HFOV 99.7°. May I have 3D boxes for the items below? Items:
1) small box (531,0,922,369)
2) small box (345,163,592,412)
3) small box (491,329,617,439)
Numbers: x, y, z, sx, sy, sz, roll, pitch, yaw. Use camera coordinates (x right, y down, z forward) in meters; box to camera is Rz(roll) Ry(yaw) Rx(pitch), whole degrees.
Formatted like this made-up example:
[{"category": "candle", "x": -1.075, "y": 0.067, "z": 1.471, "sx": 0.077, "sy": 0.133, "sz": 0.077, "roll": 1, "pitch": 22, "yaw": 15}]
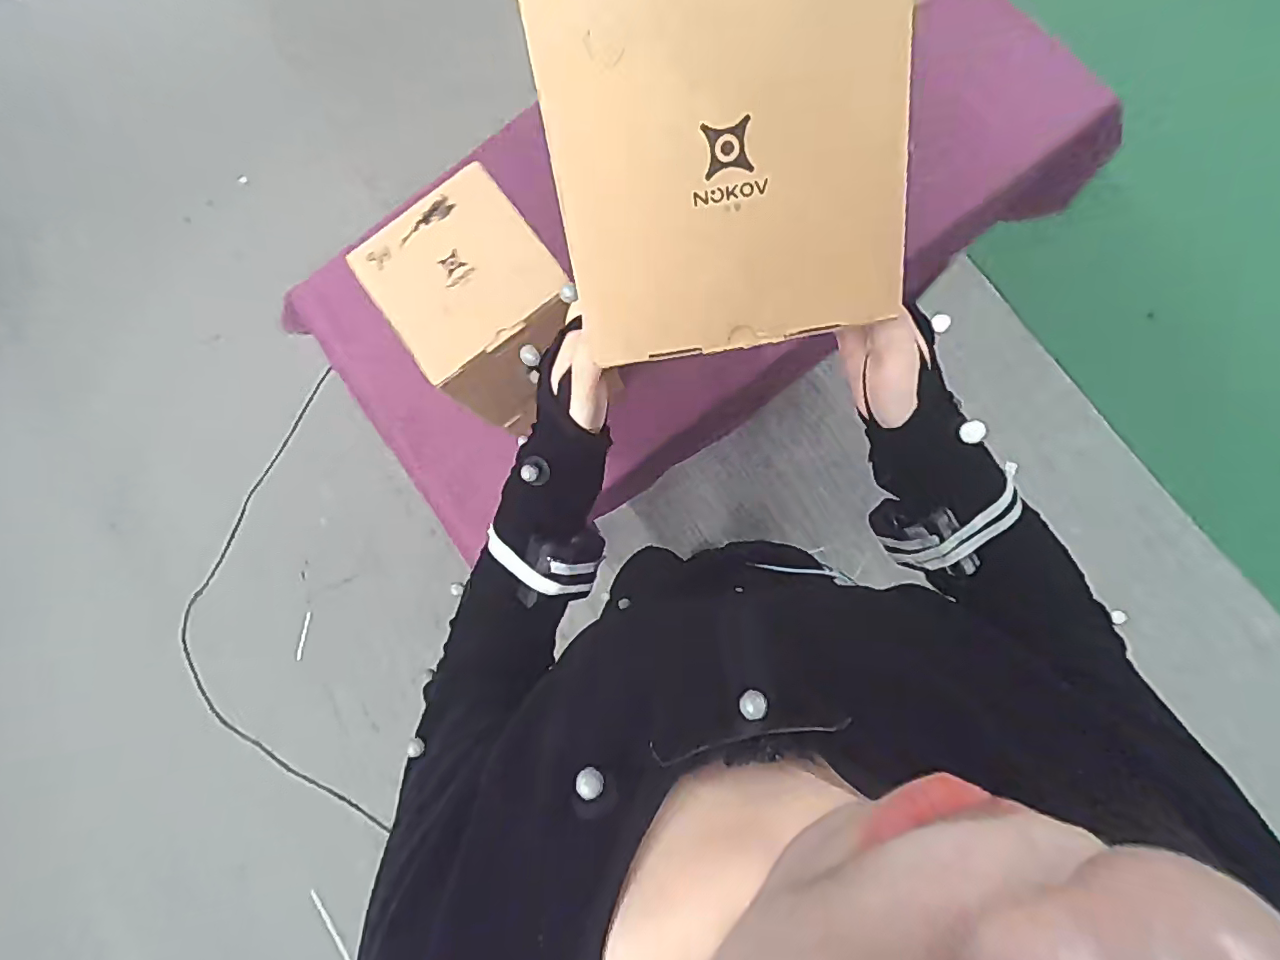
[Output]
[{"category": "small box", "x": 0.046, "y": -0.182, "z": 0.326, "sx": 0.168, "sy": 0.176, "sz": 0.179, "roll": -7, "pitch": 116, "yaw": 6}, {"category": "small box", "x": -0.173, "y": -0.193, "z": 0.605, "sx": 0.168, "sy": 0.176, "sz": 0.179, "roll": -37, "pitch": 81, "yaw": 0}, {"category": "small box", "x": -0.152, "y": -0.174, "z": 0.767, "sx": 0.168, "sy": 0.176, "sz": 0.179, "roll": -38, "pitch": 80, "yaw": 0}]
